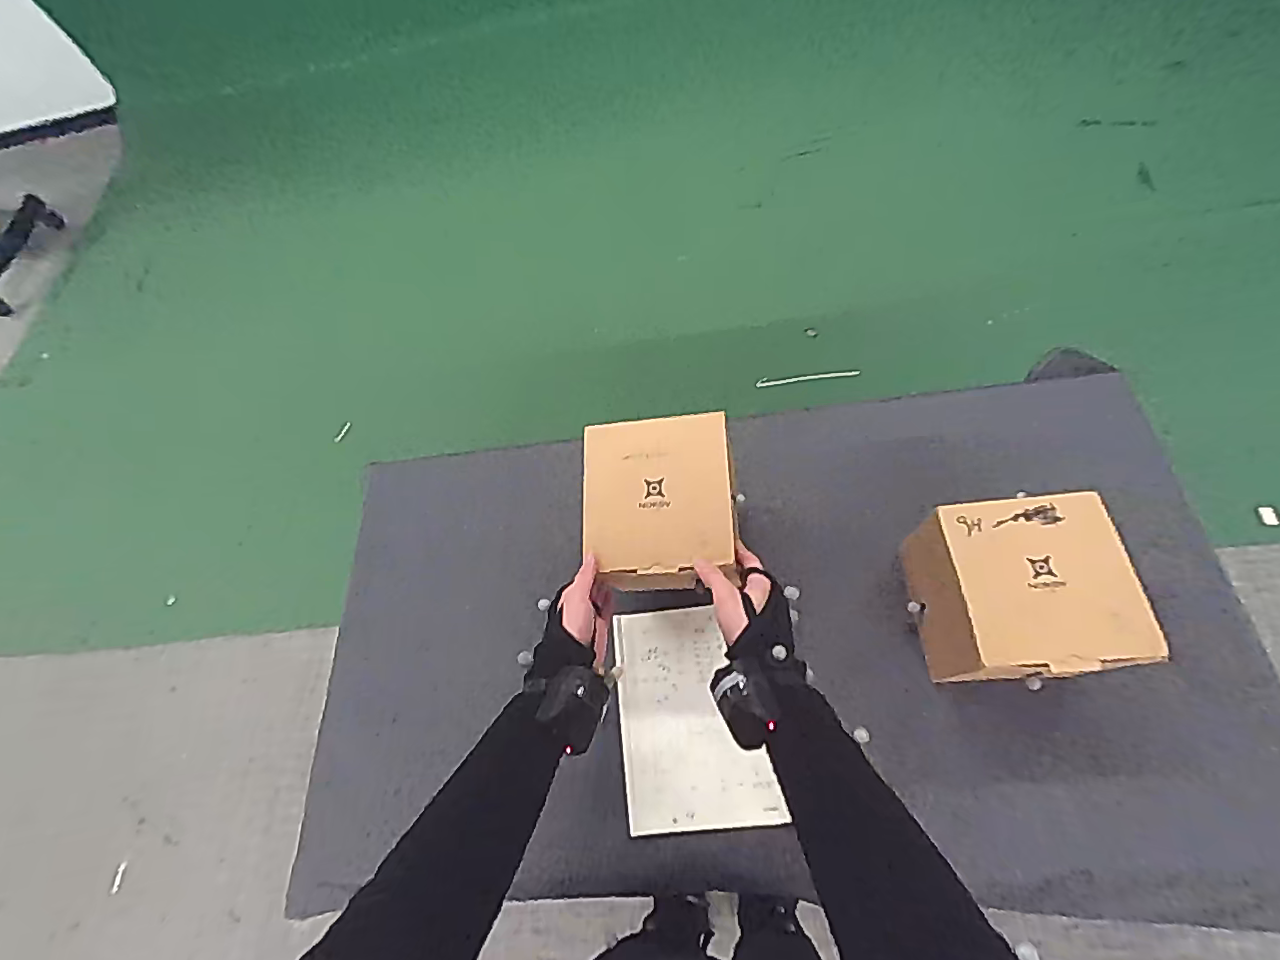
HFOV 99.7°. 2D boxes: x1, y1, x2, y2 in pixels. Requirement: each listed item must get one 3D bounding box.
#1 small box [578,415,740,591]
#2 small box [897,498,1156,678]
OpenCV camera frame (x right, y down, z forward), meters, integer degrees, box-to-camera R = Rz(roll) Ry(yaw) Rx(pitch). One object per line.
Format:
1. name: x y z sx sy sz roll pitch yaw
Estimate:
1. small box: 0.031 0.040 0.654 0.168 0.176 0.179 -5 71 11
2. small box: 0.424 0.136 0.632 0.168 0.176 0.179 -5 66 6
